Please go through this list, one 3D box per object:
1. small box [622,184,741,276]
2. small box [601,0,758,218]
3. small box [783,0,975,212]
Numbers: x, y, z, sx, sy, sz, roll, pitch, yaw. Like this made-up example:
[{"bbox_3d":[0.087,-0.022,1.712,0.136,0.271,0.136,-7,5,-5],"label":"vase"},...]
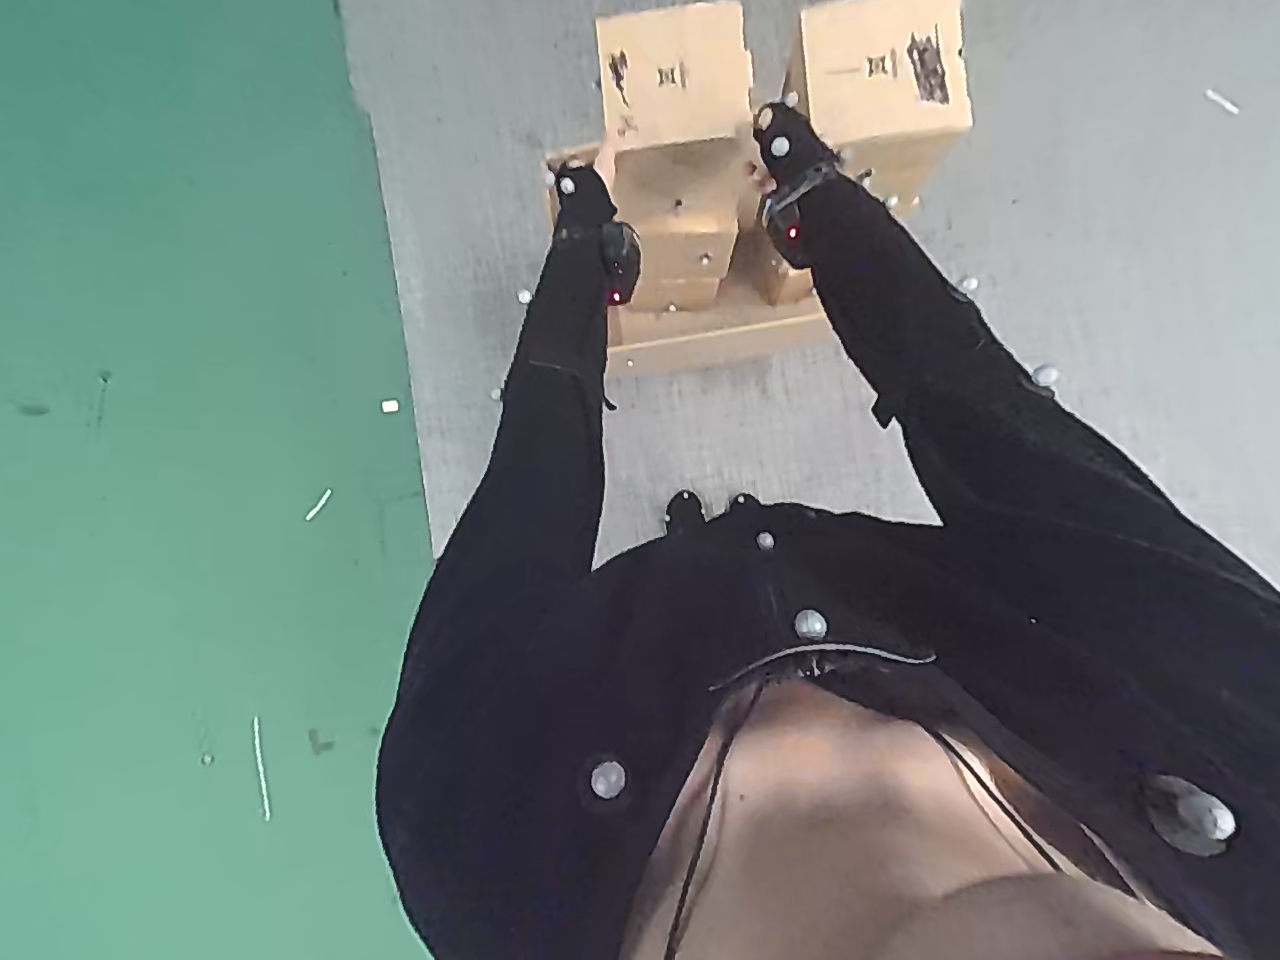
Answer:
[{"bbox_3d":[0.063,-0.442,0.870,0.179,0.176,0.168,-1,87,3],"label":"small box"},{"bbox_3d":[0.047,-0.470,0.709,0.179,0.176,0.168,-5,87,2],"label":"small box"},{"bbox_3d":[0.285,-0.465,0.680,0.179,0.176,0.168,-5,89,7],"label":"small box"}]
